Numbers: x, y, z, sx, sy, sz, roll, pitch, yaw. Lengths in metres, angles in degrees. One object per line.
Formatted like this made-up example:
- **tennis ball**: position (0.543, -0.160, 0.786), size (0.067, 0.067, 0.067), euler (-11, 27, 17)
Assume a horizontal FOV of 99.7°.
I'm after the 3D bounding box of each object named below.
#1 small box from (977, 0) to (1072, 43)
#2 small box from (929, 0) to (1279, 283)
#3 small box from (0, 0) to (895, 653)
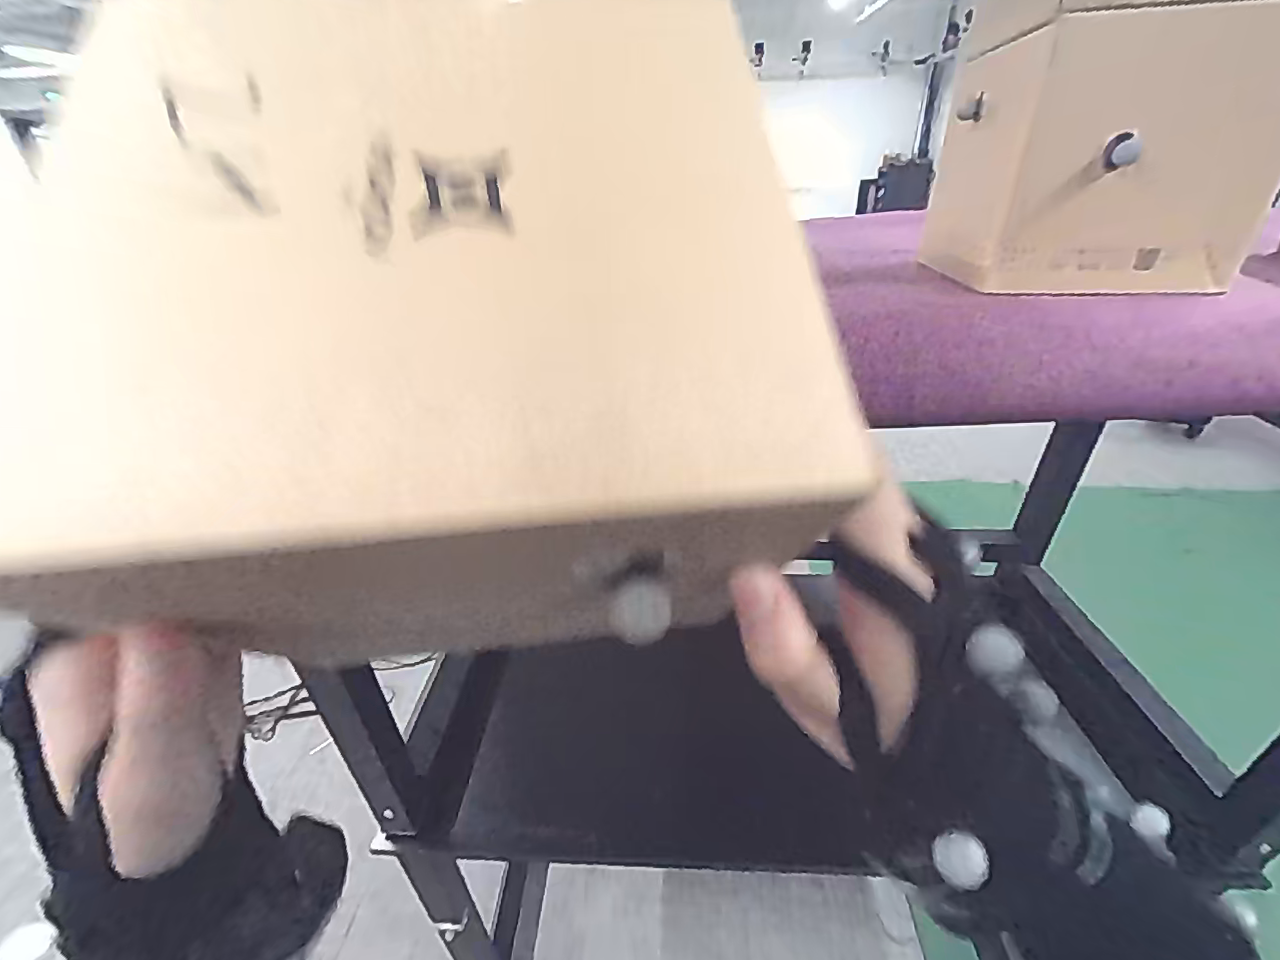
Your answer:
- **small box**: position (0.350, -0.398, 0.344), size (0.168, 0.176, 0.179), euler (4, 31, 9)
- **small box**: position (0.353, -0.255, 0.424), size (0.168, 0.176, 0.179), euler (3, 30, 8)
- **small box**: position (-0.047, -0.035, 0.202), size (0.179, 0.176, 0.168), euler (-5, 67, -6)
